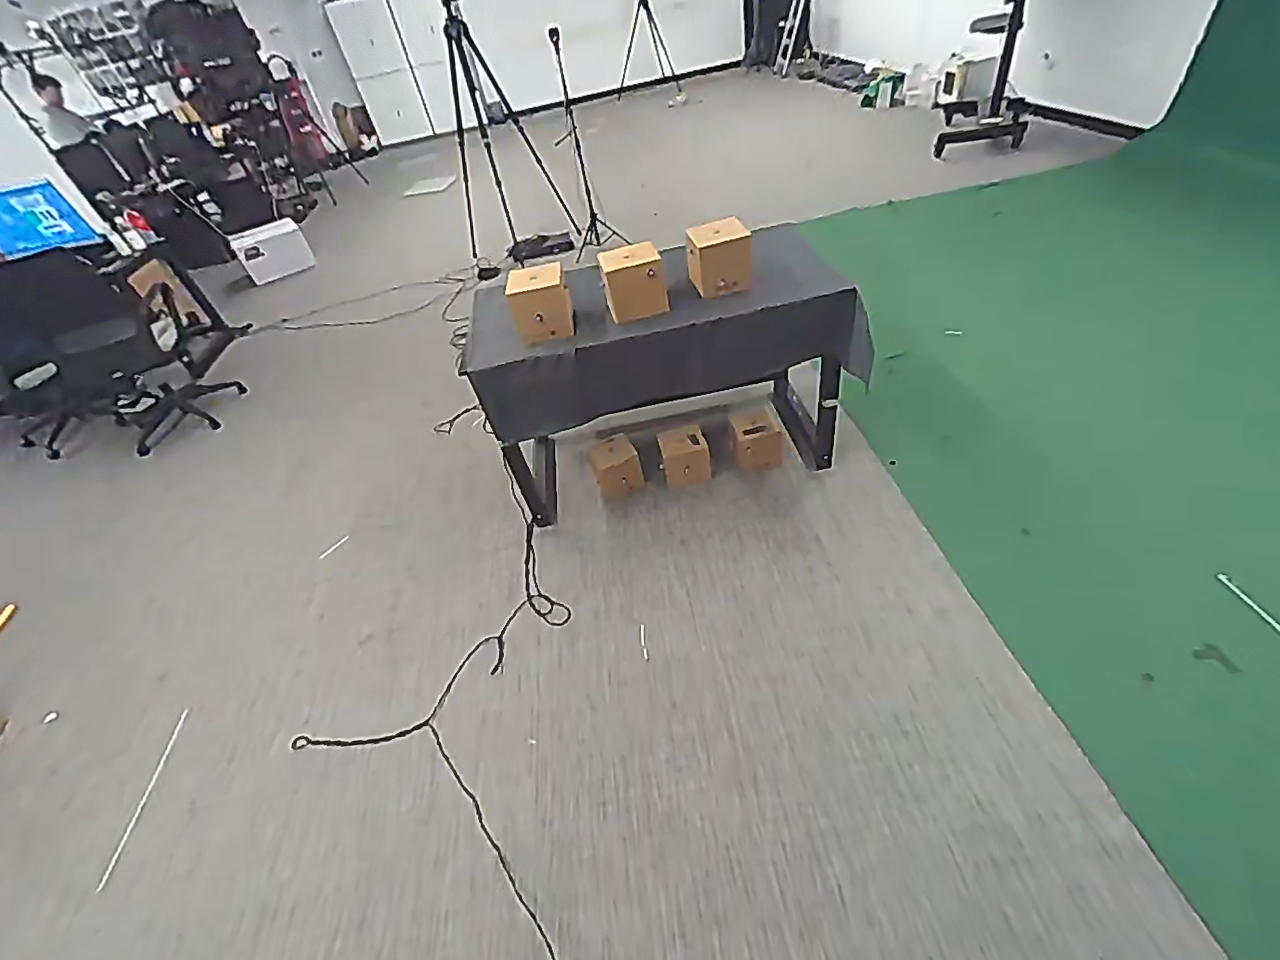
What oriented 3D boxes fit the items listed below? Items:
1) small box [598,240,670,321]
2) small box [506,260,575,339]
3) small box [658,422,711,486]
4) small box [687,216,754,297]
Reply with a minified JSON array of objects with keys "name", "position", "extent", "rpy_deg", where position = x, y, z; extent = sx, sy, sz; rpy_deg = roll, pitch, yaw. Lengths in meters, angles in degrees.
[{"name":"small box","position":[-0.018,-0.612,1.667],"extent":[0.179,0.176,0.168],"rpy_deg":[-15,43,-2]},{"name":"small box","position":[-0.300,-0.548,1.663],"extent":[0.168,0.176,0.179],"rpy_deg":[-10,43,2]},{"name":"small box","position":[0.180,-0.100,2.146],"extent":[0.179,0.176,0.168],"rpy_deg":[-14,43,1]},{"name":"small box","position":[0.251,-0.697,1.689],"extent":[0.168,0.176,0.179],"rpy_deg":[-14,43,0]}]
